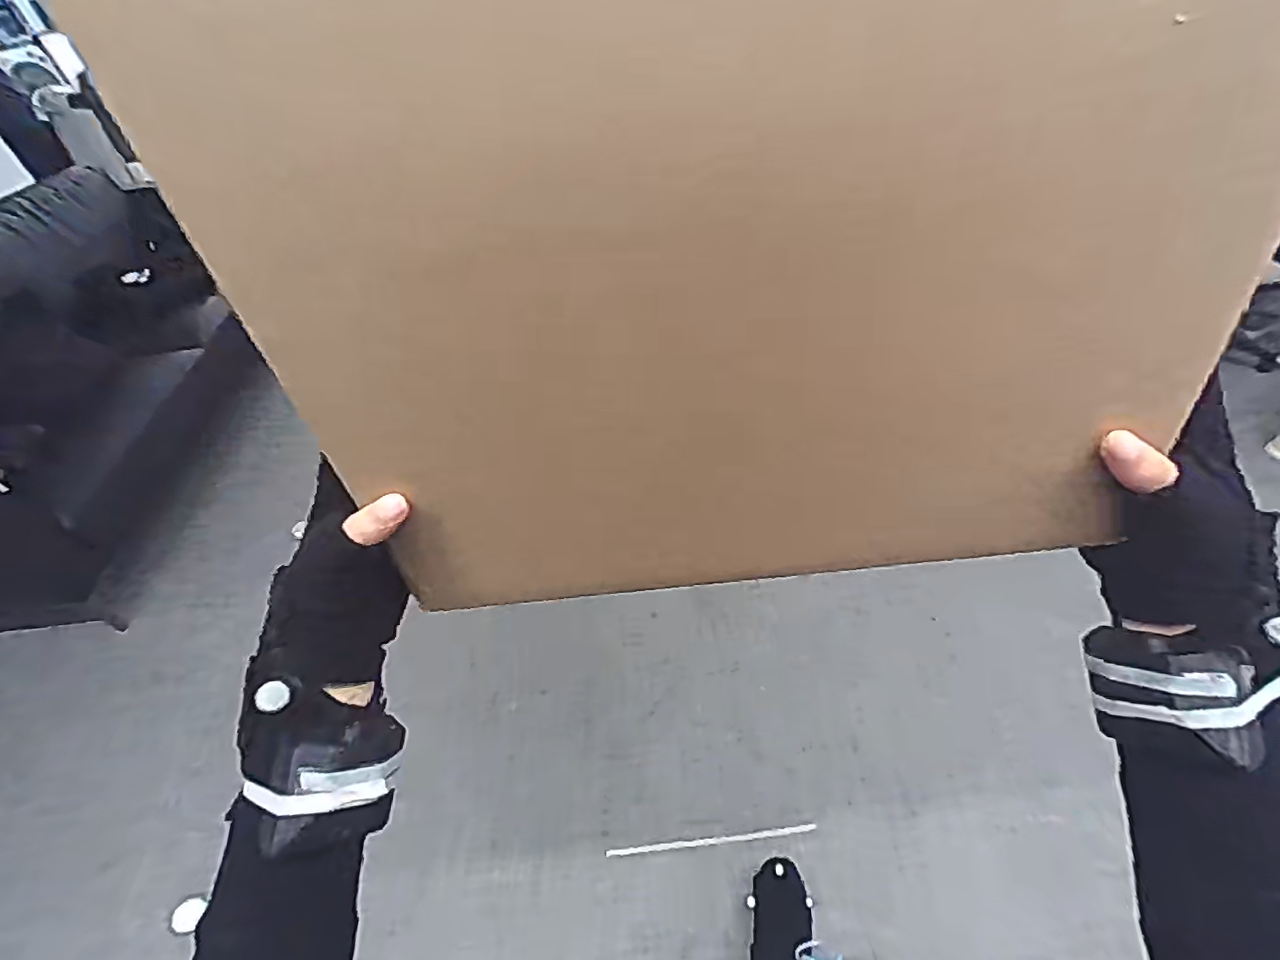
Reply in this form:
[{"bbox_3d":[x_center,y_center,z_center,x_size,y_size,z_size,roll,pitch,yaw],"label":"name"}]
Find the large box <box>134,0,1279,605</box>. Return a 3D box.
[{"bbox_3d":[0.051,-0.151,0.349,0.408,0.320,0.320,-6,37,4],"label":"large box"}]
